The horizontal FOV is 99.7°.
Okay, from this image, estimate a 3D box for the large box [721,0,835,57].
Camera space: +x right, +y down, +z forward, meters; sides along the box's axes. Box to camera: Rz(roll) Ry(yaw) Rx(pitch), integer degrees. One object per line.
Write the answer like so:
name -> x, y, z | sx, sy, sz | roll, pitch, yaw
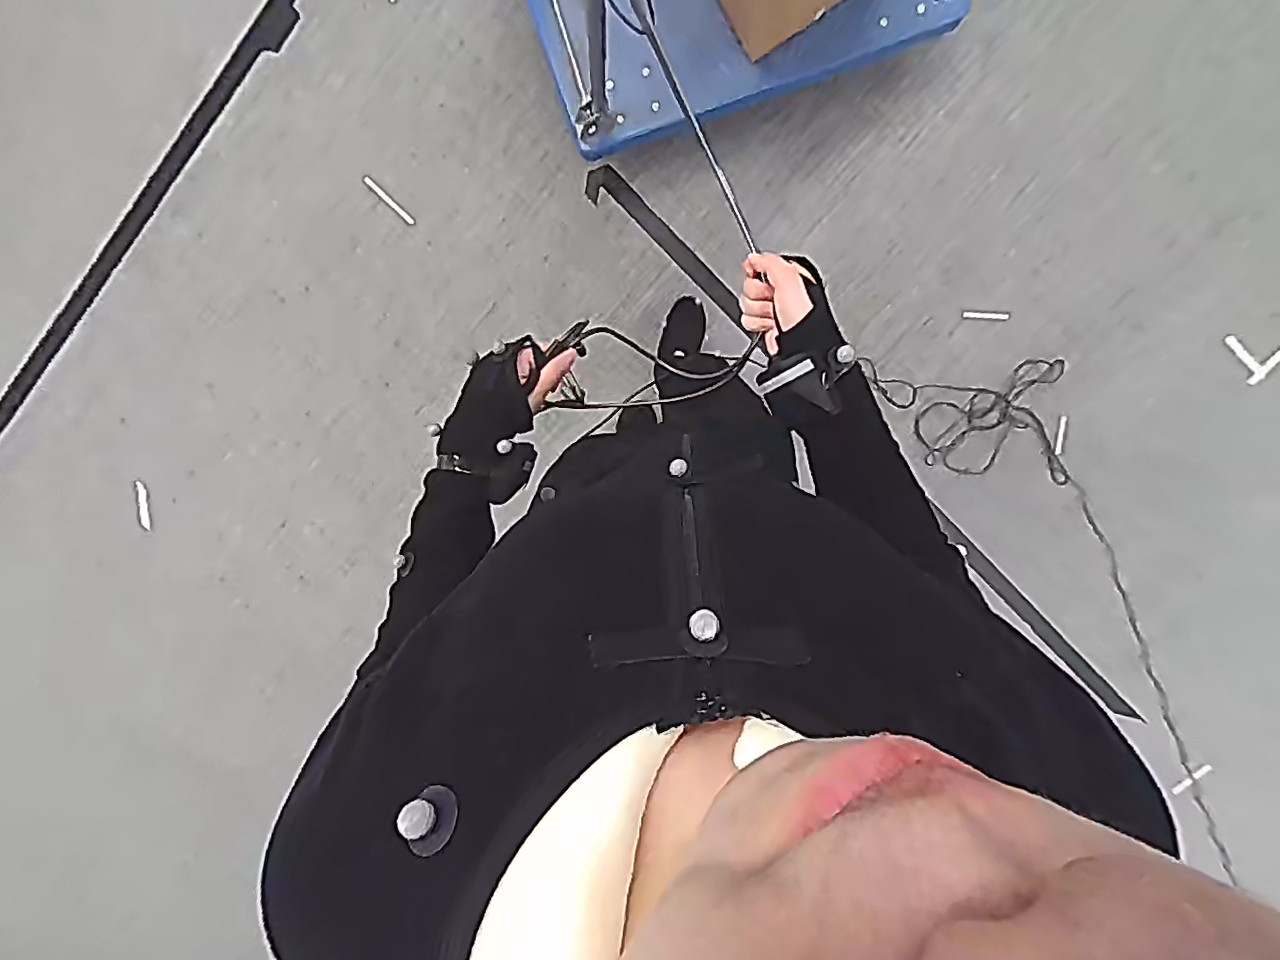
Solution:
large box -> 0.254, -1.089, 0.935 | 0.320, 0.320, 0.408 | -33, 101, 7
